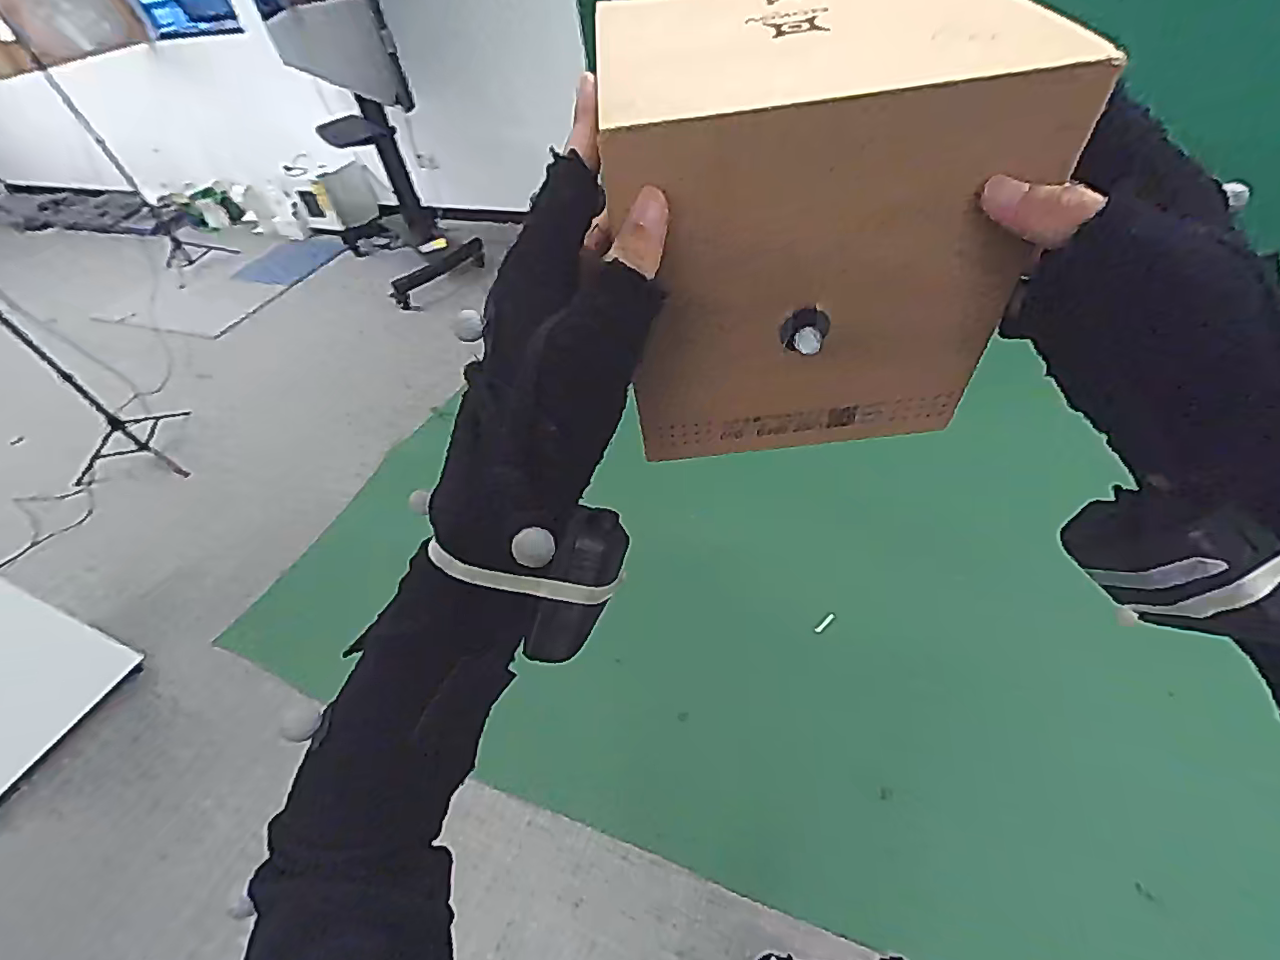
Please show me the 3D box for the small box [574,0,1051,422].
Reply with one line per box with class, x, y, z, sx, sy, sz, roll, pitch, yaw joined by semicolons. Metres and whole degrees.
small box;0.064;-0.145;0.298;0.168;0.176;0.179;-5;50;3
